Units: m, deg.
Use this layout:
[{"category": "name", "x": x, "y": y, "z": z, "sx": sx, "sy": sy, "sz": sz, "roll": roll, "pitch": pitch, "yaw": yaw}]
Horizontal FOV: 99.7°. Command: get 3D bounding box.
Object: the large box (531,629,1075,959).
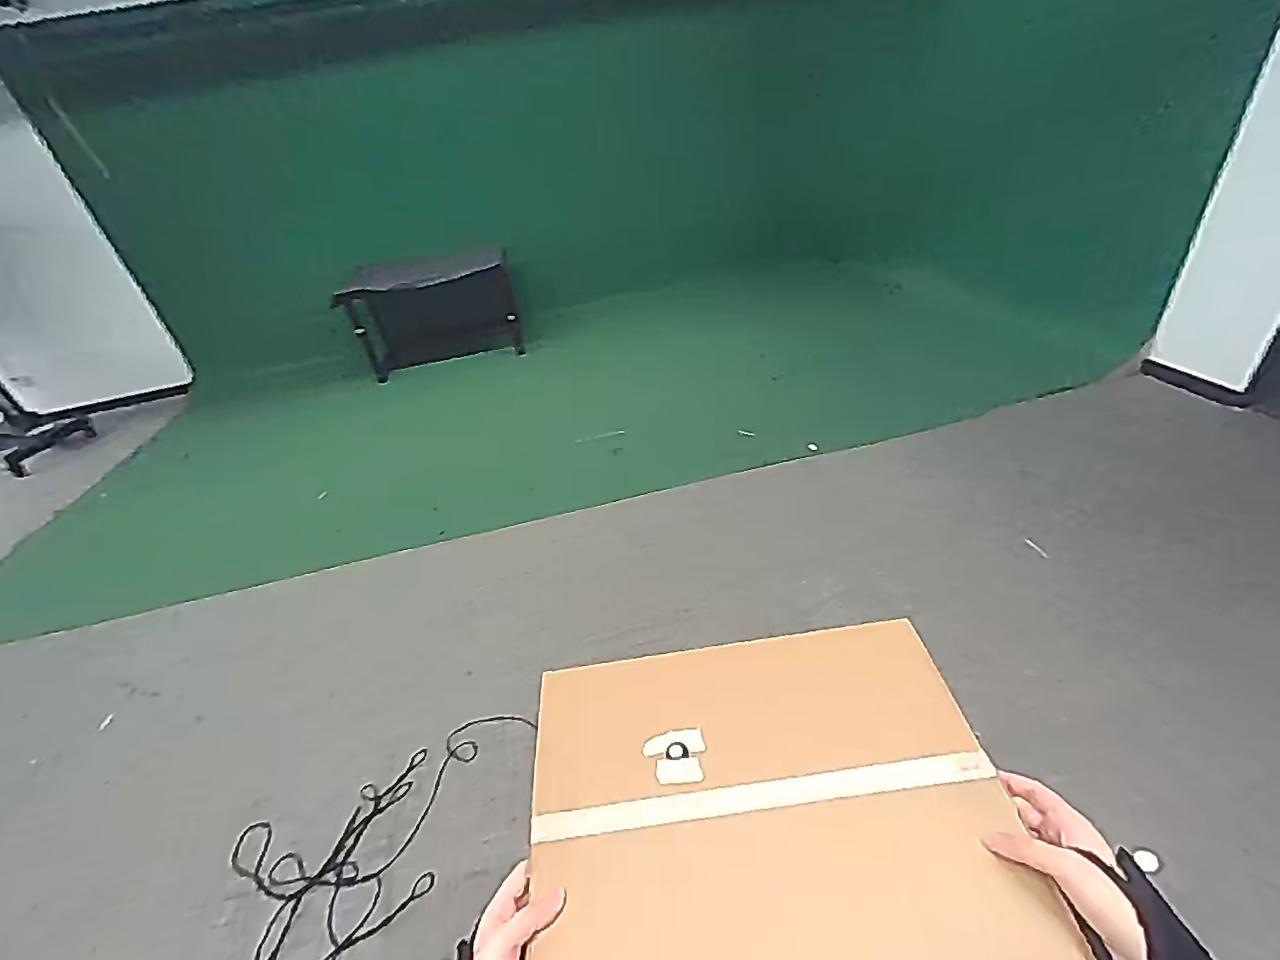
[{"category": "large box", "x": 0.127, "y": 0.407, "z": 0.576, "sx": 0.408, "sy": 0.320, "sz": 0.320, "roll": -11, "pitch": 39, "yaw": 2}]
